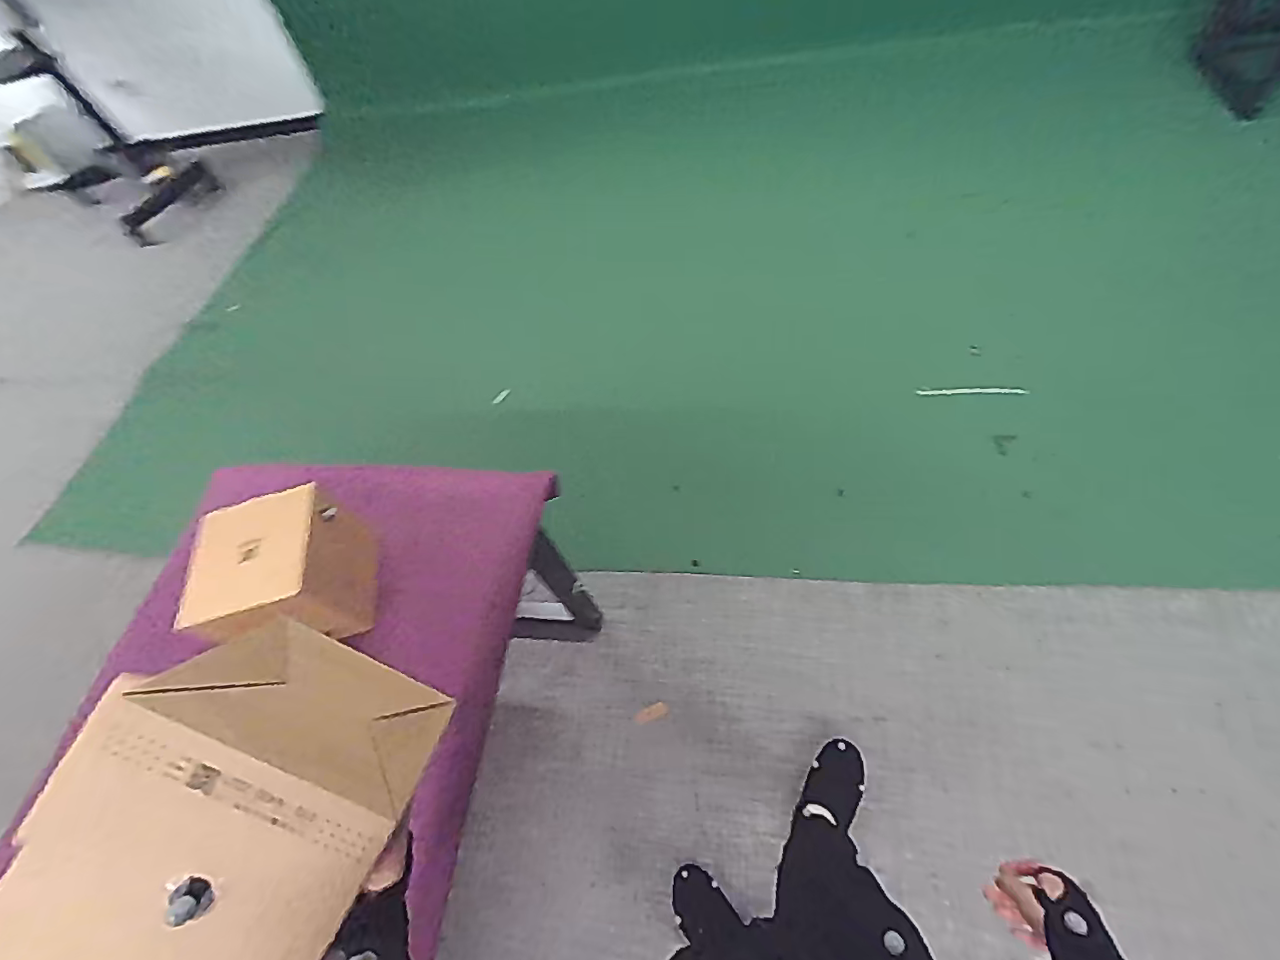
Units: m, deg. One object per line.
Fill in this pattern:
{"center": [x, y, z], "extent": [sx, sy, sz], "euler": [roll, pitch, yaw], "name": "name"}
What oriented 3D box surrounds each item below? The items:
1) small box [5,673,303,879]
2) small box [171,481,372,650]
{"center": [-0.561, 0.353, 0.656], "extent": [0.168, 0.176, 0.179], "euler": [5, 59, 12], "name": "small box"}
{"center": [-0.515, 0.134, 0.787], "extent": [0.168, 0.176, 0.179], "euler": [-16, 56, 0], "name": "small box"}
